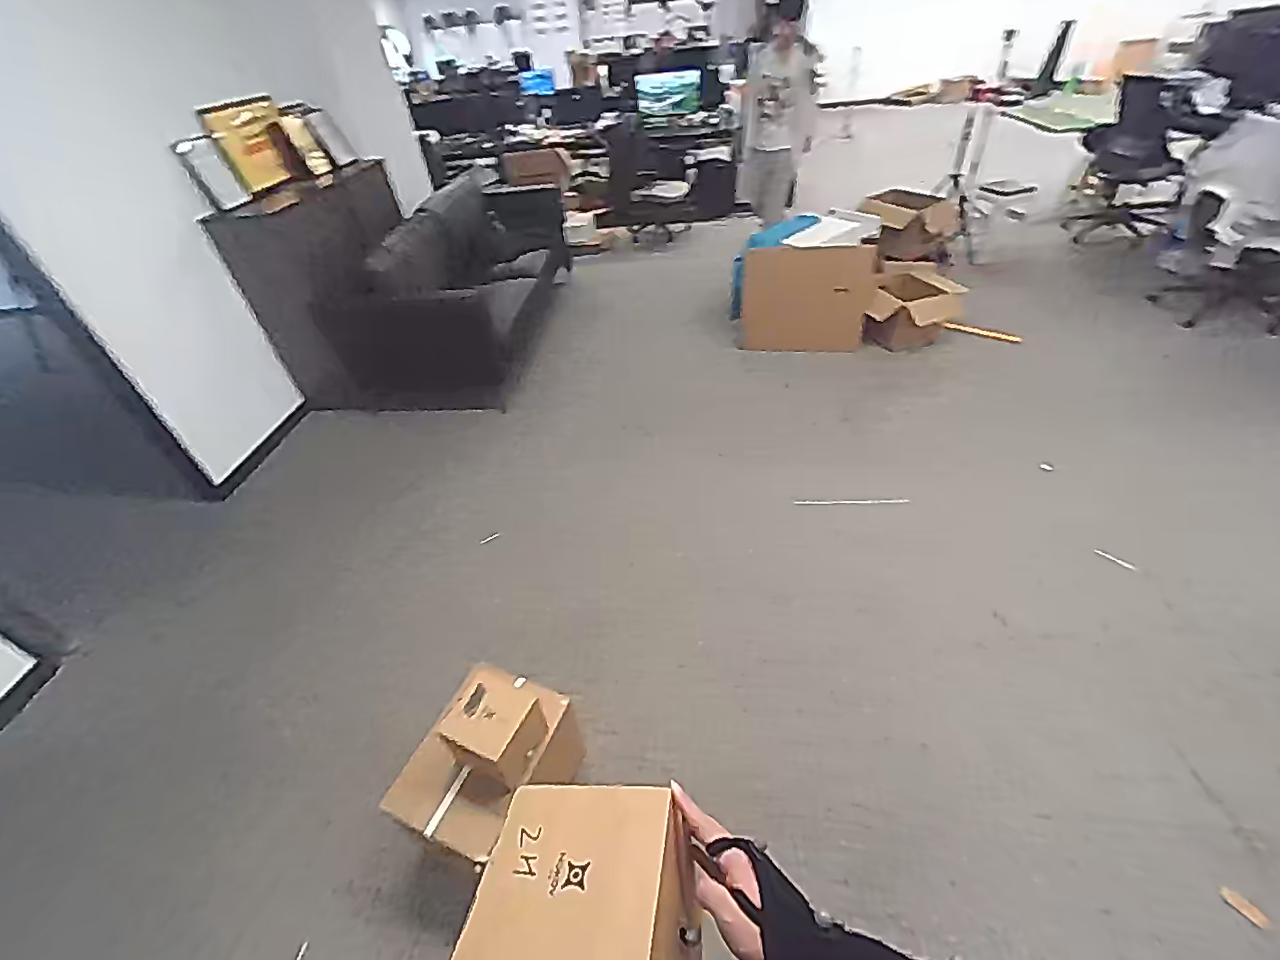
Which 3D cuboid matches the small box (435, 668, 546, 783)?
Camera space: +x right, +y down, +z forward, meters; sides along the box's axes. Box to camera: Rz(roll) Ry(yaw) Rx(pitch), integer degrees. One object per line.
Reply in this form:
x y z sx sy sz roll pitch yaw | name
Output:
-0.350 0.593 1.300 0.179 0.176 0.168 15 45 21 | small box
